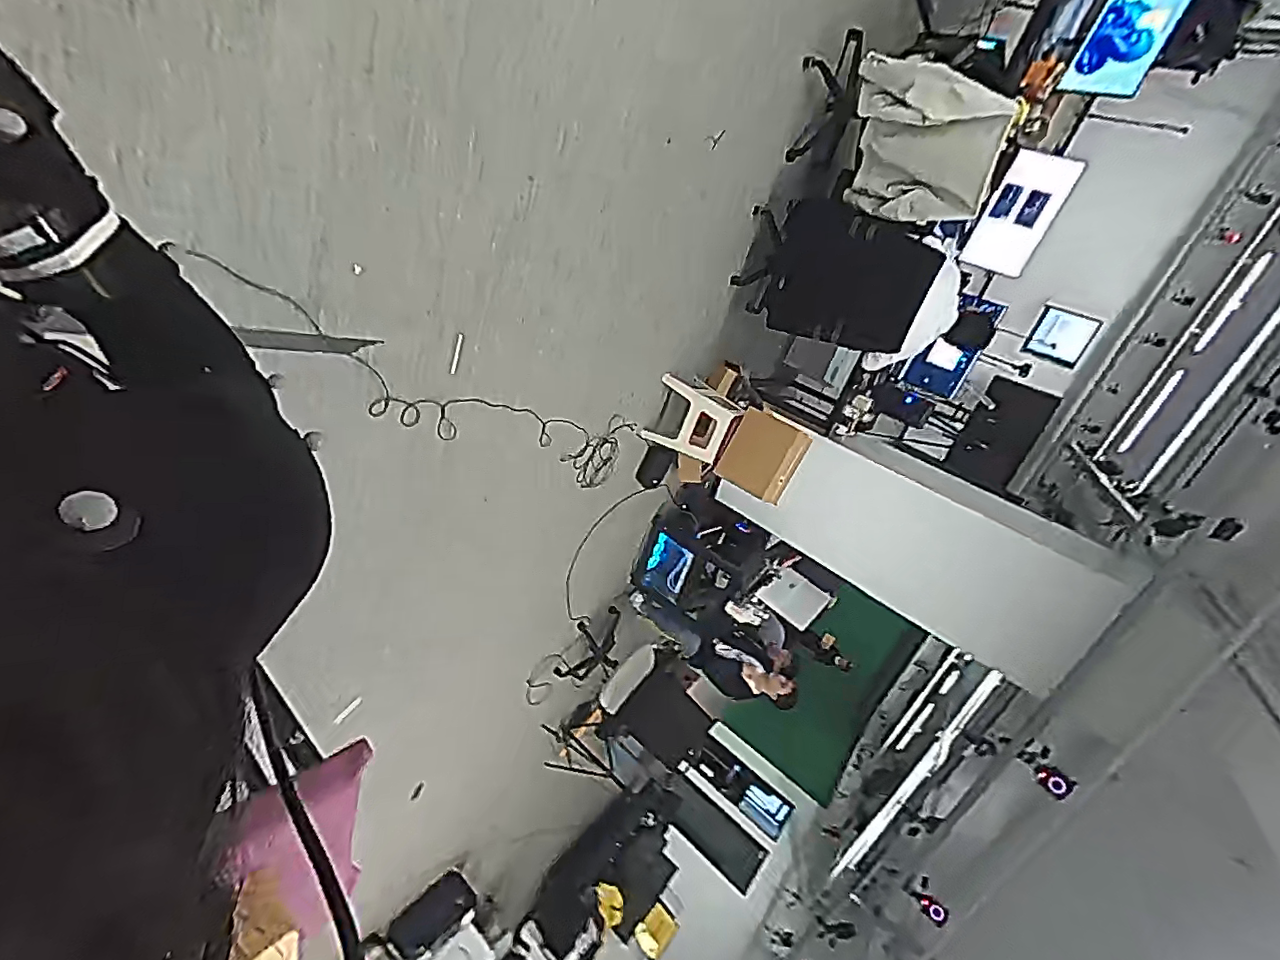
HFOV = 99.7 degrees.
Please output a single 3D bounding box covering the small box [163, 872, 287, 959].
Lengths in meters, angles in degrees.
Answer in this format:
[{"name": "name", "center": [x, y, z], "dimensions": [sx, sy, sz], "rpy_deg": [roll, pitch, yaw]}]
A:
[{"name": "small box", "center": [-0.879, 0.993, 1.149], "dimensions": [0.168, 0.176, 0.179], "rpy_deg": [-18, 133, -52]}]
